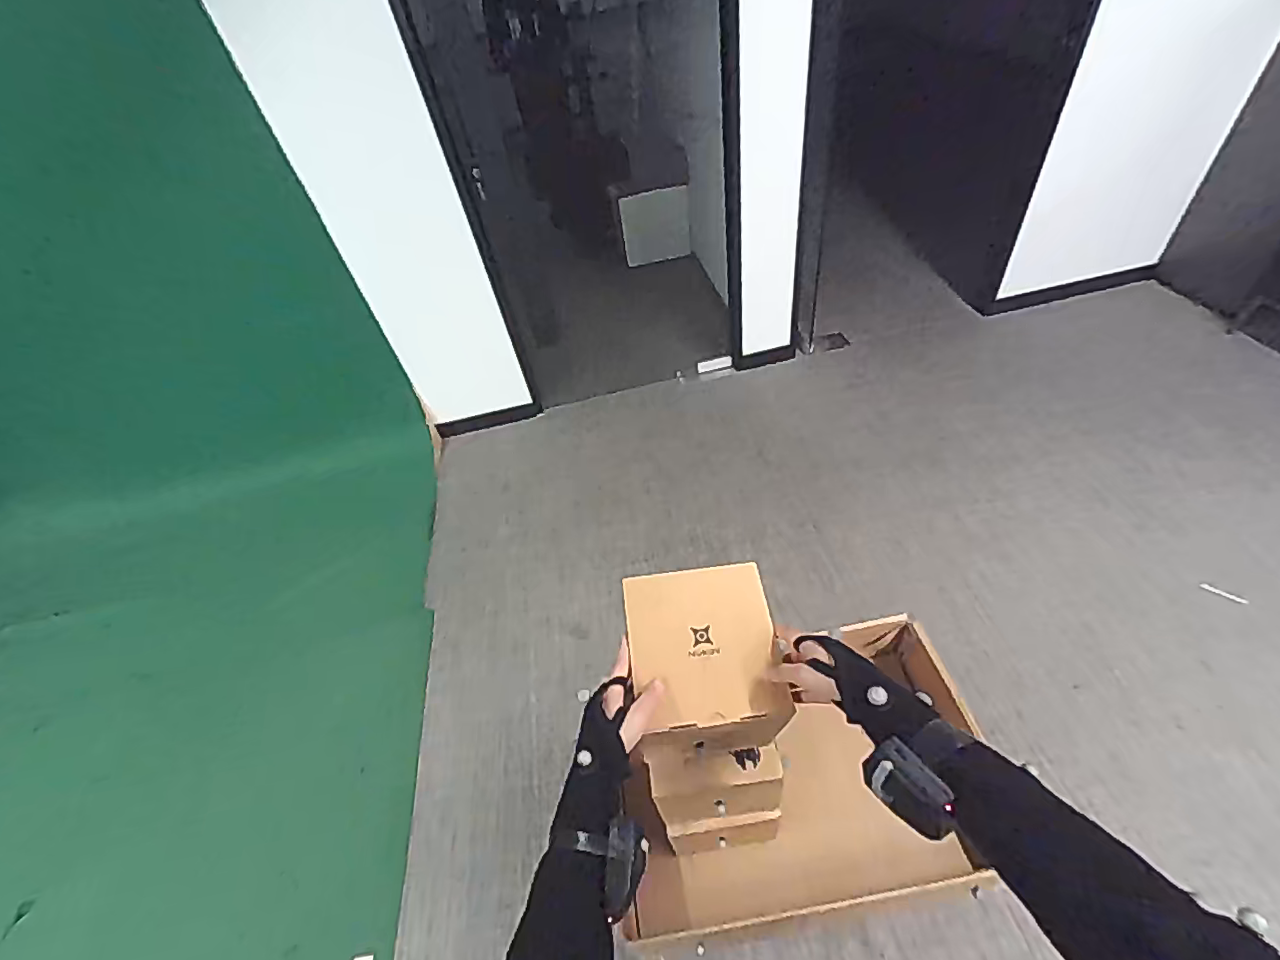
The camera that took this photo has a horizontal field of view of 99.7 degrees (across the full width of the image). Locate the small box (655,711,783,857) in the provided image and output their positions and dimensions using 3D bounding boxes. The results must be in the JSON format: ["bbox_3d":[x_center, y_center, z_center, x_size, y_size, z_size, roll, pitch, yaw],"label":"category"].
[{"bbox_3d":[0.128,0.514,0.911,0.179,0.176,0.168,-11,45,1],"label":"small box"}]
